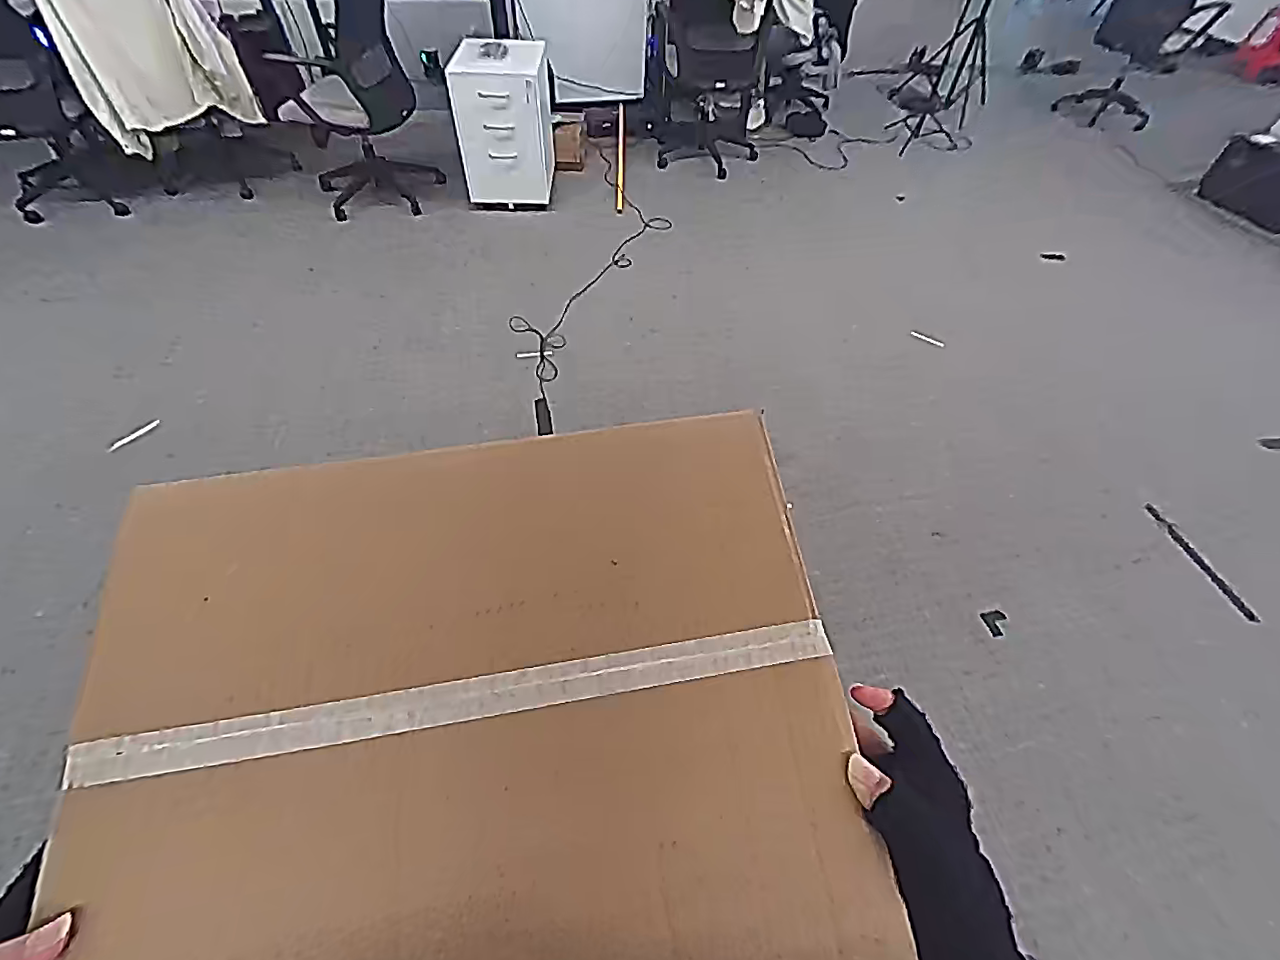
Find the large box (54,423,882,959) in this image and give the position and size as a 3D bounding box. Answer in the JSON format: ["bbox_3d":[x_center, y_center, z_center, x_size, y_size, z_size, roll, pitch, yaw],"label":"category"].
[{"bbox_3d":[-0.099,0.183,0.445,0.408,0.320,0.320,-8,66,-5],"label":"large box"}]
